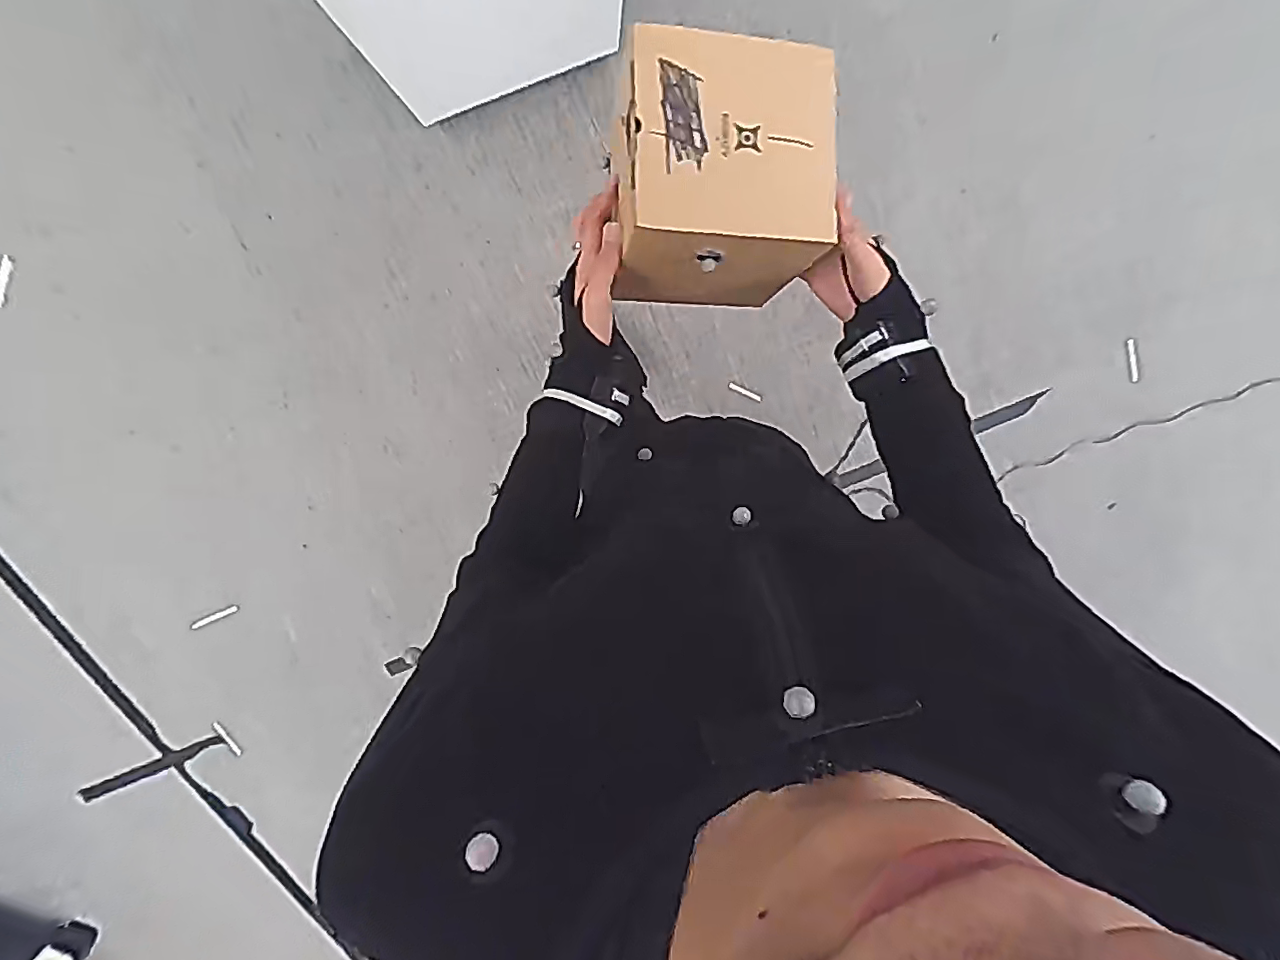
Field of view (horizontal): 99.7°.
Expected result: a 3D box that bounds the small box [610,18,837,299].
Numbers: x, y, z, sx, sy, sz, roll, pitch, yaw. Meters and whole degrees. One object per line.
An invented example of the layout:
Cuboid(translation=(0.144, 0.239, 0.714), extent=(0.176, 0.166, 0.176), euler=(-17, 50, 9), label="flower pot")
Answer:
Cuboid(translation=(0.064, -0.282, 0.516), extent=(0.179, 0.176, 0.168), euler=(-1, 90, -10), label="small box")
